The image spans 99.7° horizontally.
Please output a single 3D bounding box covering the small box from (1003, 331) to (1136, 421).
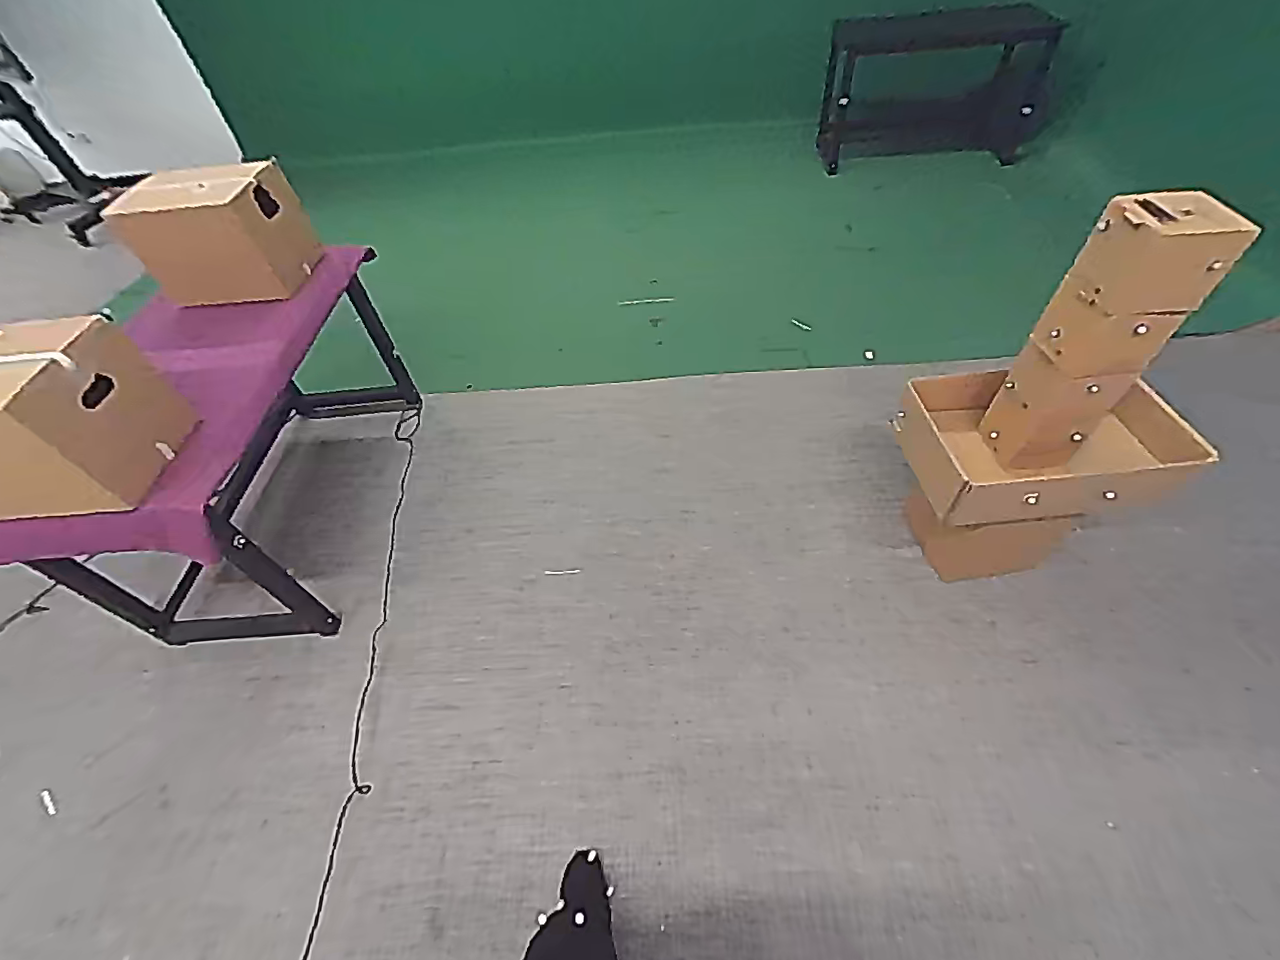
[{"bbox_3d":[1.053,-0.264,1.352,0.179,0.176,0.168,-6,50,-2],"label":"small box"}]

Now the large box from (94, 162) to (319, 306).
[{"bbox_3d":[-1.356,-0.789,1.742,0.408,0.320,0.320,-3,51,3],"label":"large box"}]

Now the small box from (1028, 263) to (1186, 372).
[{"bbox_3d":[1.041,-0.365,1.225,0.179,0.176,0.168,-7,51,-1],"label":"small box"}]

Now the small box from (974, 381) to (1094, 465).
[{"bbox_3d":[1.062,-0.158,1.477,0.179,0.176,0.168,-5,49,0],"label":"small box"}]
